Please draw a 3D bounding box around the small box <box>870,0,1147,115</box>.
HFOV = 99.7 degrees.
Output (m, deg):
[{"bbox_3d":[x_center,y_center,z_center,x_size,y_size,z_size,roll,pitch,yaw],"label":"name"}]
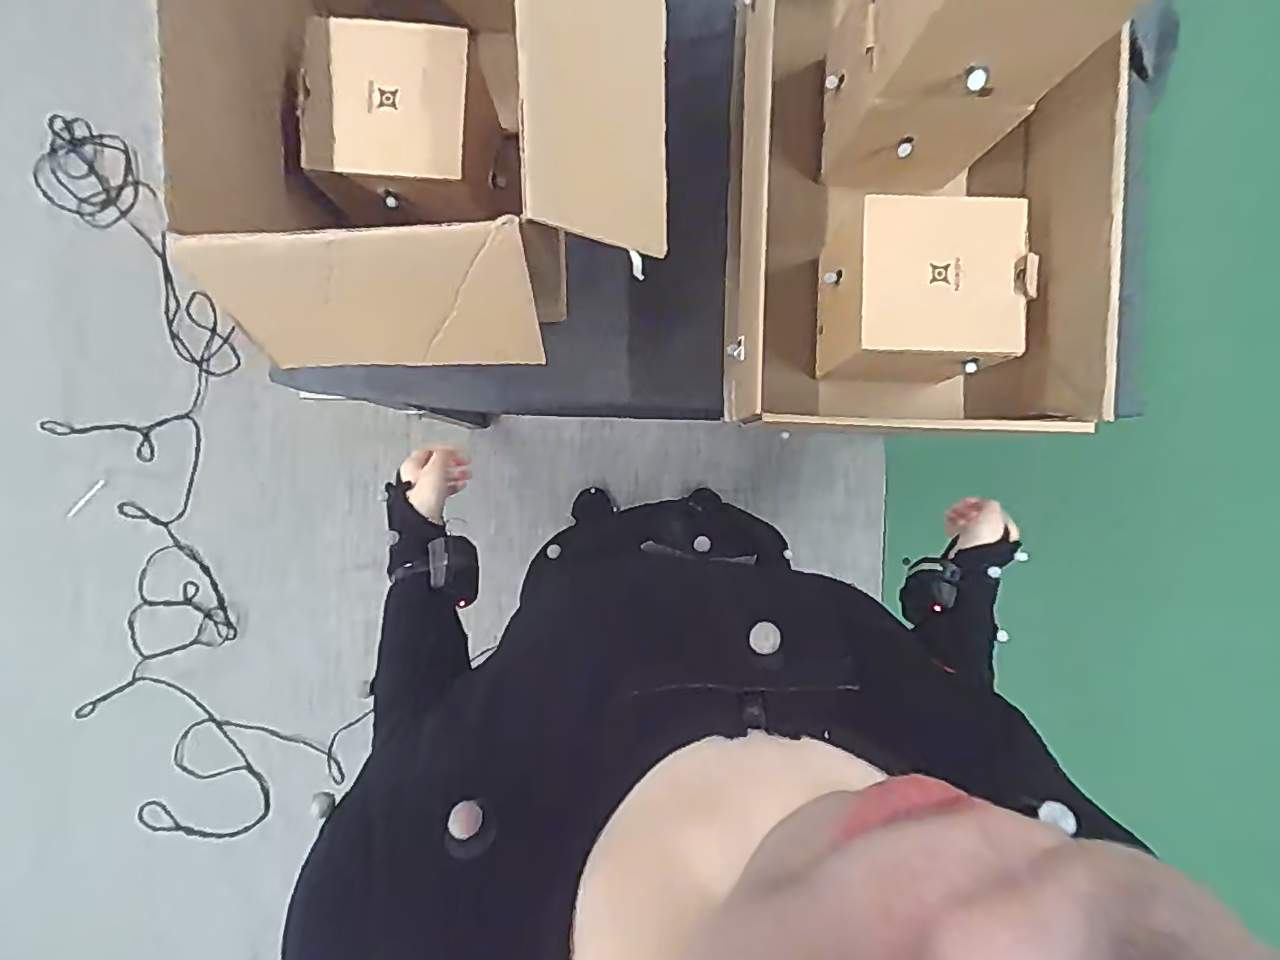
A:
[{"bbox_3d":[0.326,-0.475,0.486,0.168,0.176,0.179,3,93,-2],"label":"small box"}]
